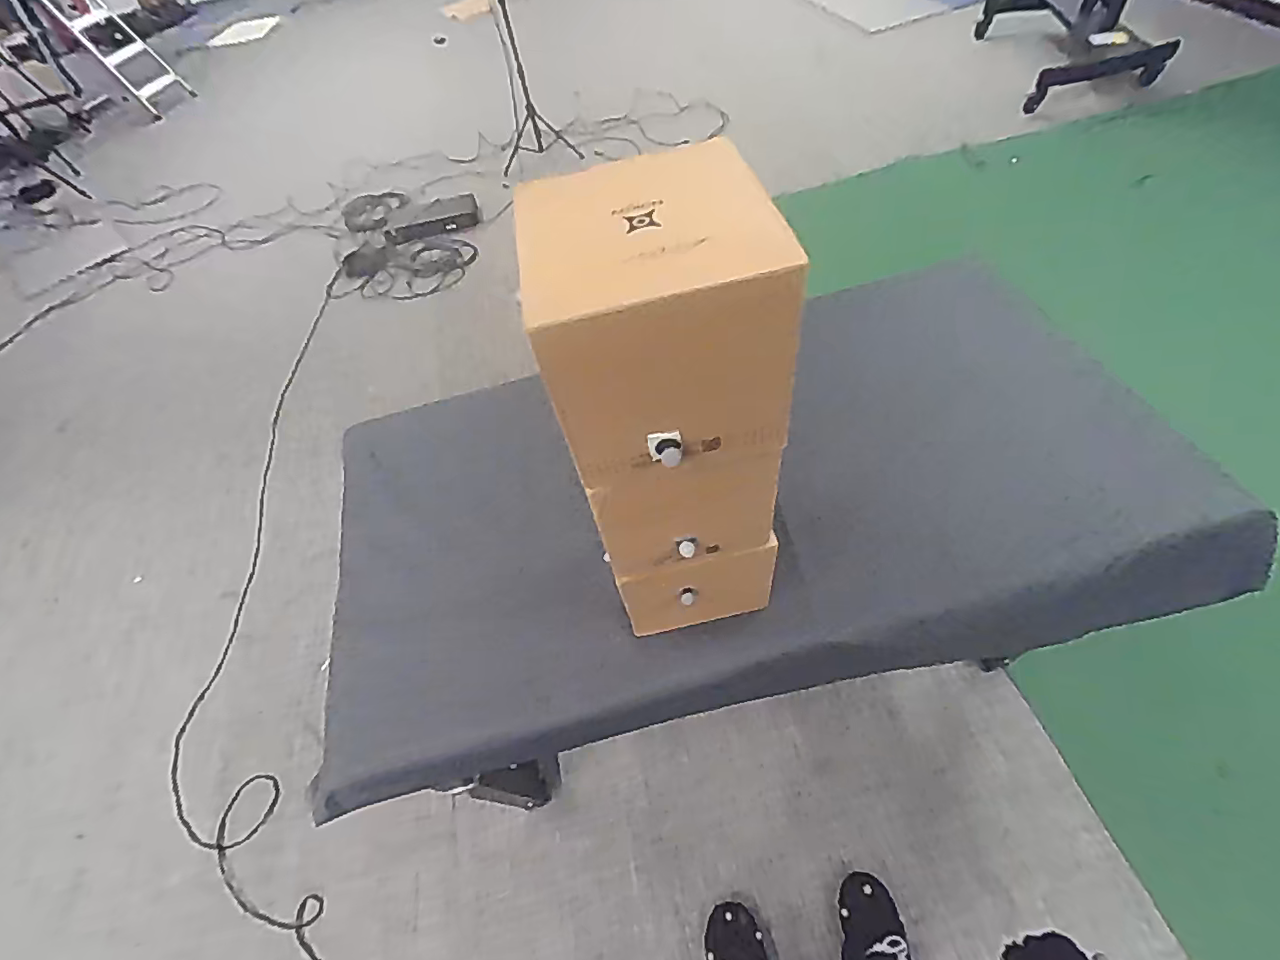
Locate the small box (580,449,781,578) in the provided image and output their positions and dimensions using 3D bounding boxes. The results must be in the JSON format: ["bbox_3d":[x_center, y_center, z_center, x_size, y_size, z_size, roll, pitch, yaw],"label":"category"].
[{"bbox_3d":[0.030,-0.026,0.551,0.168,0.176,0.179,-12,53,0],"label":"small box"}]

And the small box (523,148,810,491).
[{"bbox_3d":[0.014,-0.119,0.420,0.168,0.176,0.179,-13,54,1],"label":"small box"}]

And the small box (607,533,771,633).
[{"bbox_3d":[0.054,0.075,0.679,0.179,0.176,0.168,-12,53,0],"label":"small box"}]
